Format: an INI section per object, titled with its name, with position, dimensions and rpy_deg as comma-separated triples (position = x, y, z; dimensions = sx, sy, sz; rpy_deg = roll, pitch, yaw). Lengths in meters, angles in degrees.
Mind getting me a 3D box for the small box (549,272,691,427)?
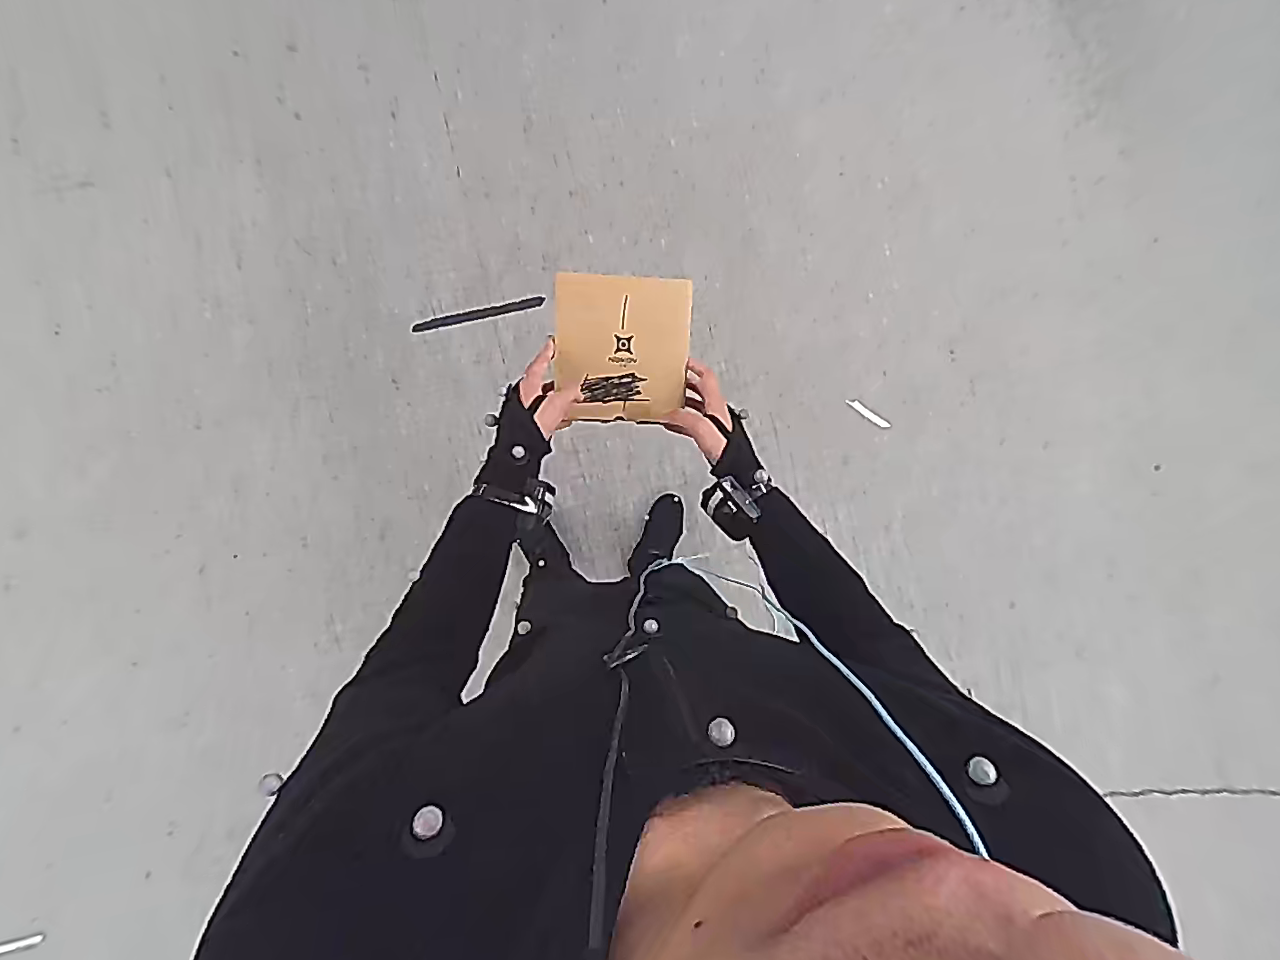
[small box]
position = -0.033, -0.175, 0.727
dimensions = 0.168, 0.176, 0.179
rpy_deg = 1, 105, -7
